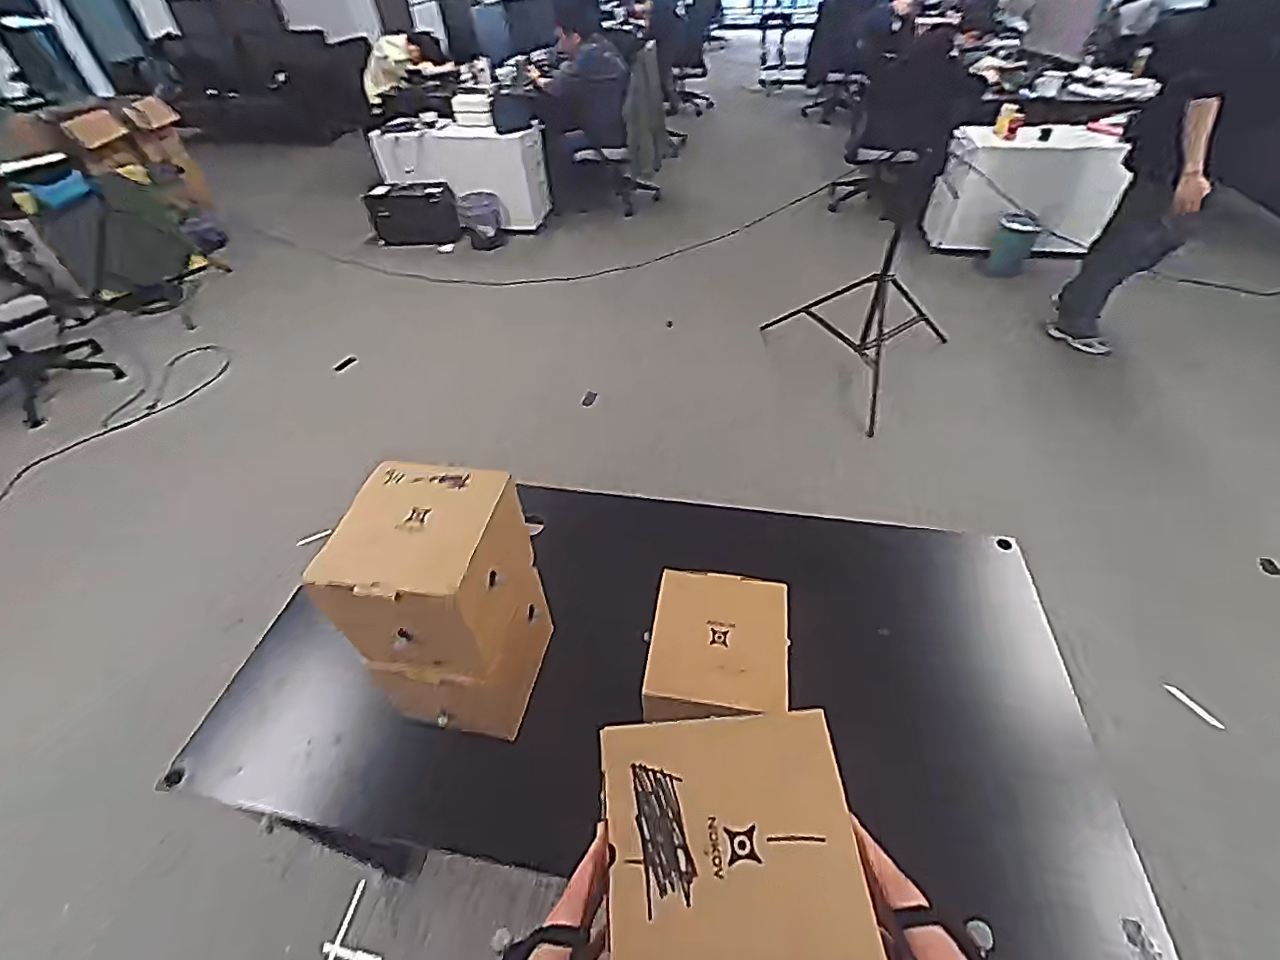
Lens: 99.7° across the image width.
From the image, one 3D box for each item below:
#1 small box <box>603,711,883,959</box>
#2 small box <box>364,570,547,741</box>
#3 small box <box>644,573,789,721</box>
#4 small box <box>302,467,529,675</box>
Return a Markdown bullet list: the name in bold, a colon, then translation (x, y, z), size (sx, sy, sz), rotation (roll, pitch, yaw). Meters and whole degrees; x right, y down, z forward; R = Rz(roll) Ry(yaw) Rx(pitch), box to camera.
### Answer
- **small box**: translation (0.065, 0.299, 0.440), size (0.179, 0.176, 0.168), rotation (-4, 54, 0)
- **small box**: translation (-0.235, 0.230, 0.748), size (0.168, 0.176, 0.179), rotation (7, 46, 9)
- **small box**: translation (0.100, 0.250, 0.719), size (0.168, 0.176, 0.179), rotation (5, 47, 8)
- **small box**: translation (-0.240, 0.109, 0.638), size (0.168, 0.176, 0.179), rotation (5, 47, 7)
